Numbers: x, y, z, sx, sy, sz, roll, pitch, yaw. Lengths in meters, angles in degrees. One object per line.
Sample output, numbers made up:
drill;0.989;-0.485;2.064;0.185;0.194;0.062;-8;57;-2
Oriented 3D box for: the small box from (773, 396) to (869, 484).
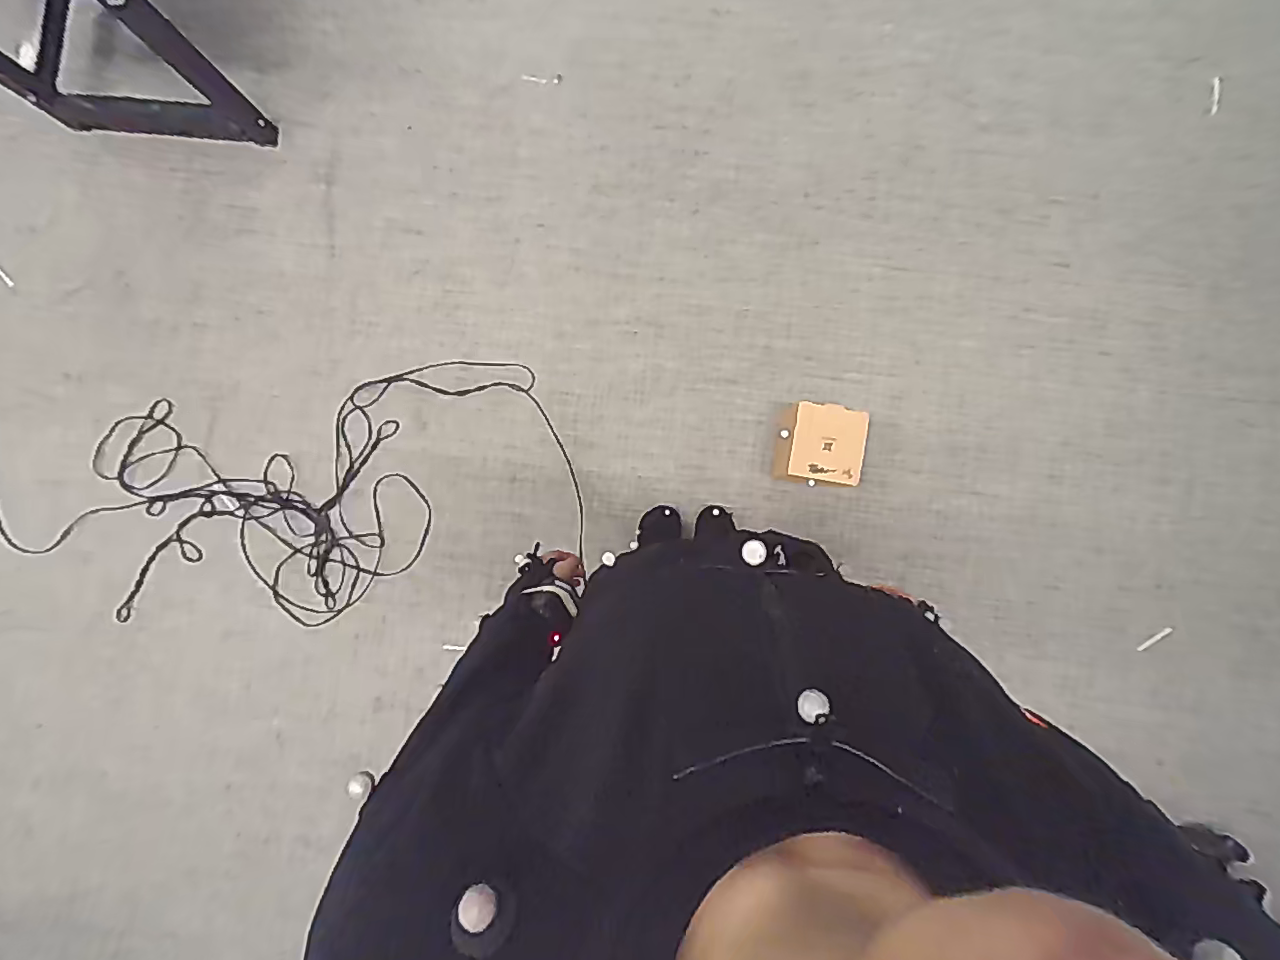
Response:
small box;0.431;-0.091;1.308;0.168;0.176;0.179;9;87;2
